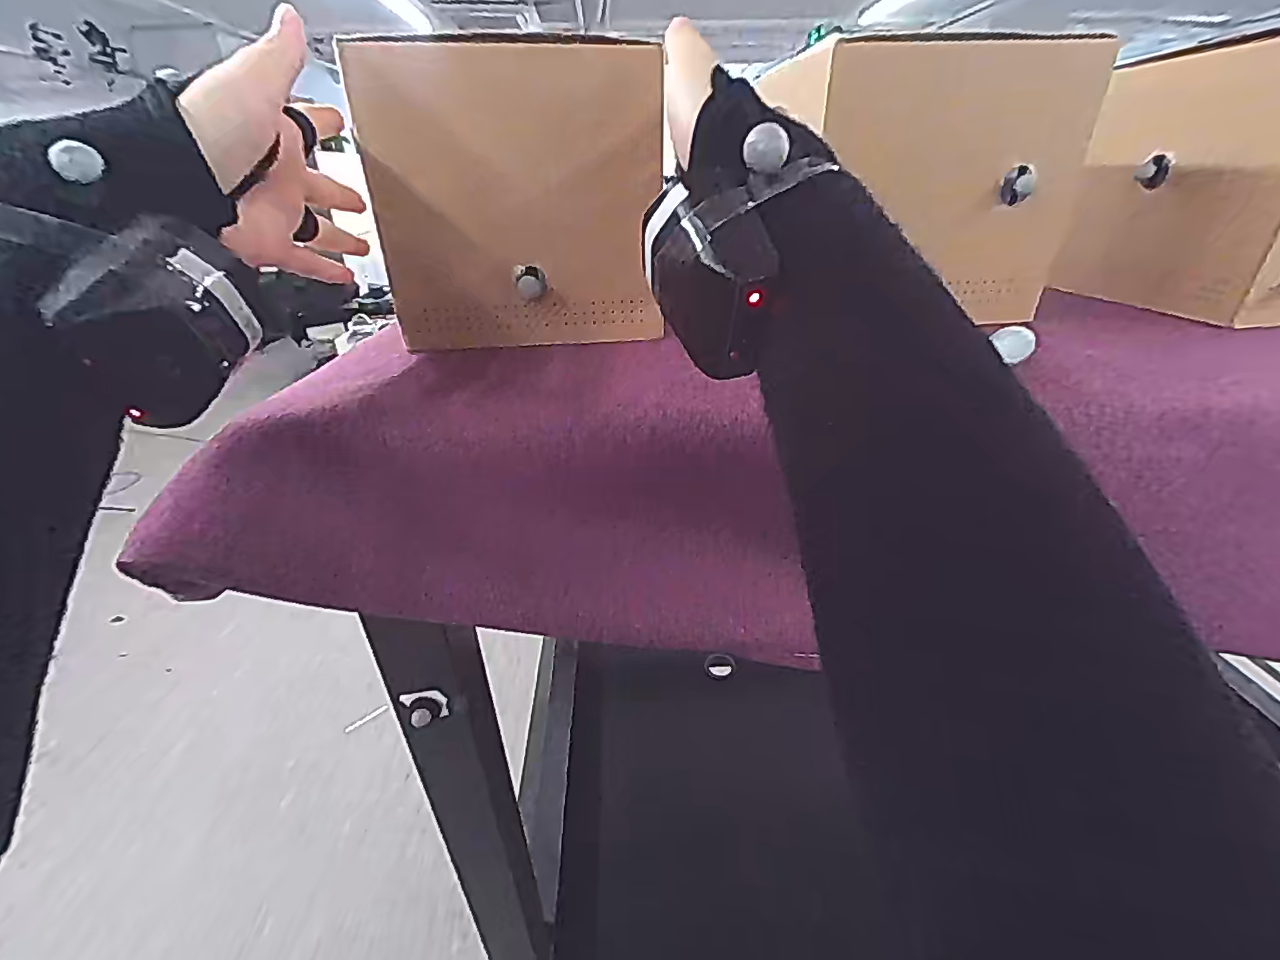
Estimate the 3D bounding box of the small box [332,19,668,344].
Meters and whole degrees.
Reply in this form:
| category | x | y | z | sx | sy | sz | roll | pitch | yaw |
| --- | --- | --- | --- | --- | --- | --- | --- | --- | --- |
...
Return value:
| category | x | y | z | sx | sy | sz | roll | pitch | yaw |
| --- | --- | --- | --- | --- | --- | --- | --- | --- | --- |
| small box | -0.081 | -0.202 | 0.390 | 0.179 | 0.176 | 0.168 | -4 | 29 | -7 |

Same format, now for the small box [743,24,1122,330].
| category | x | y | z | sx | sy | sz | roll | pitch | yaw |
| --- | --- | --- | --- | --- | --- | --- | --- | --- | --- |
| small box | 0.186 | -0.218 | 0.410 | 0.179 | 0.176 | 0.168 | -4 | 29 | -4 |

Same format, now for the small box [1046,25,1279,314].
| category | x | y | z | sx | sy | sz | roll | pitch | yaw |
| --- | --- | --- | --- | --- | --- | --- | --- | --- | --- |
| small box | 0.459 | -0.220 | 0.398 | 0.168 | 0.176 | 0.179 | -4 | 28 | -5 |
